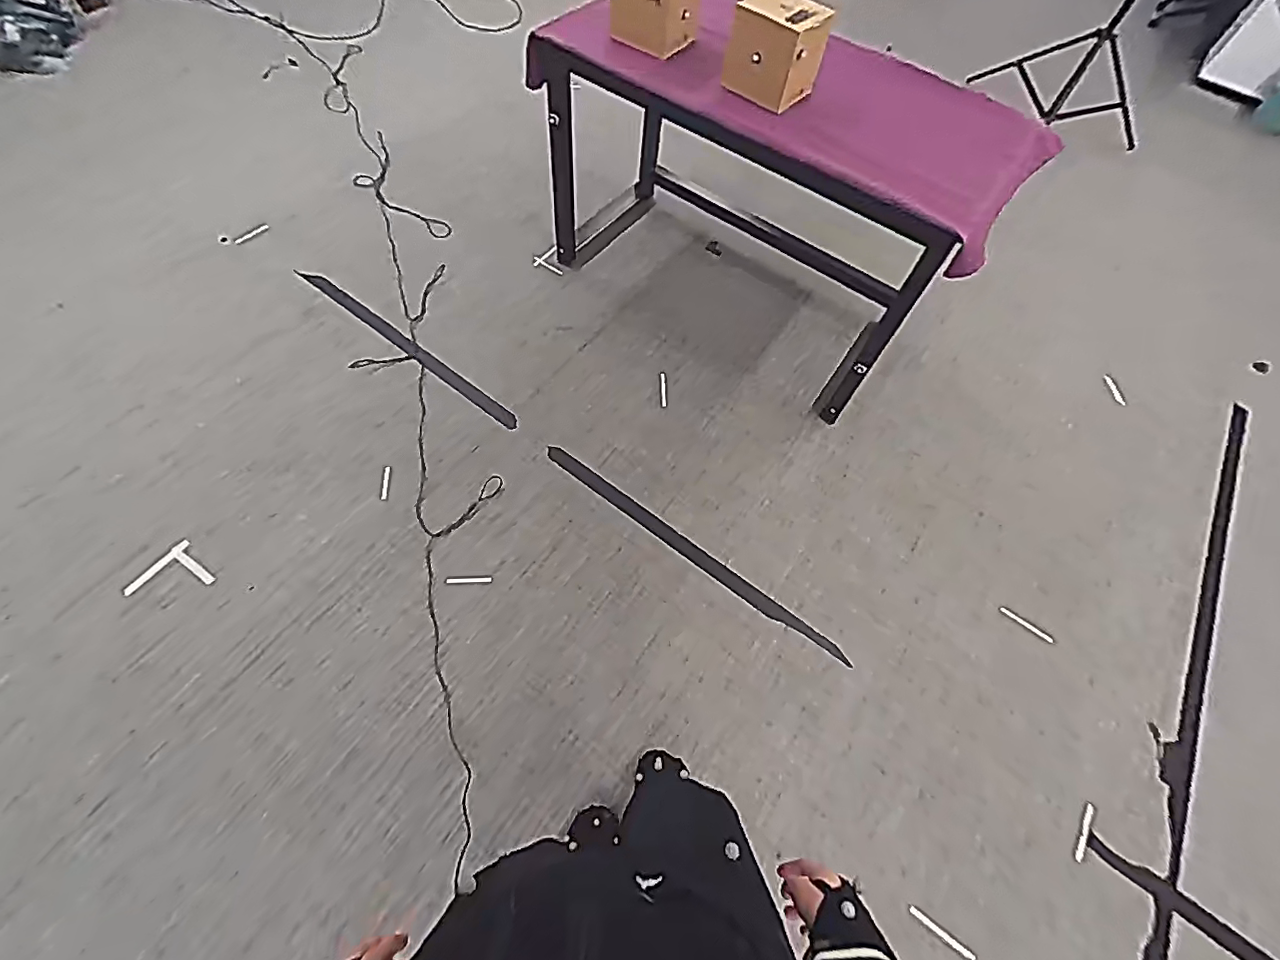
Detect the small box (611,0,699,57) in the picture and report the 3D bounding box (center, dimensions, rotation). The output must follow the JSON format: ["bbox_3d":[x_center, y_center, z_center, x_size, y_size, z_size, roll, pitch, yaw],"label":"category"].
[{"bbox_3d":[0.043,-1.213,1.369,0.179,0.176,0.168,32,62,12],"label":"small box"}]
